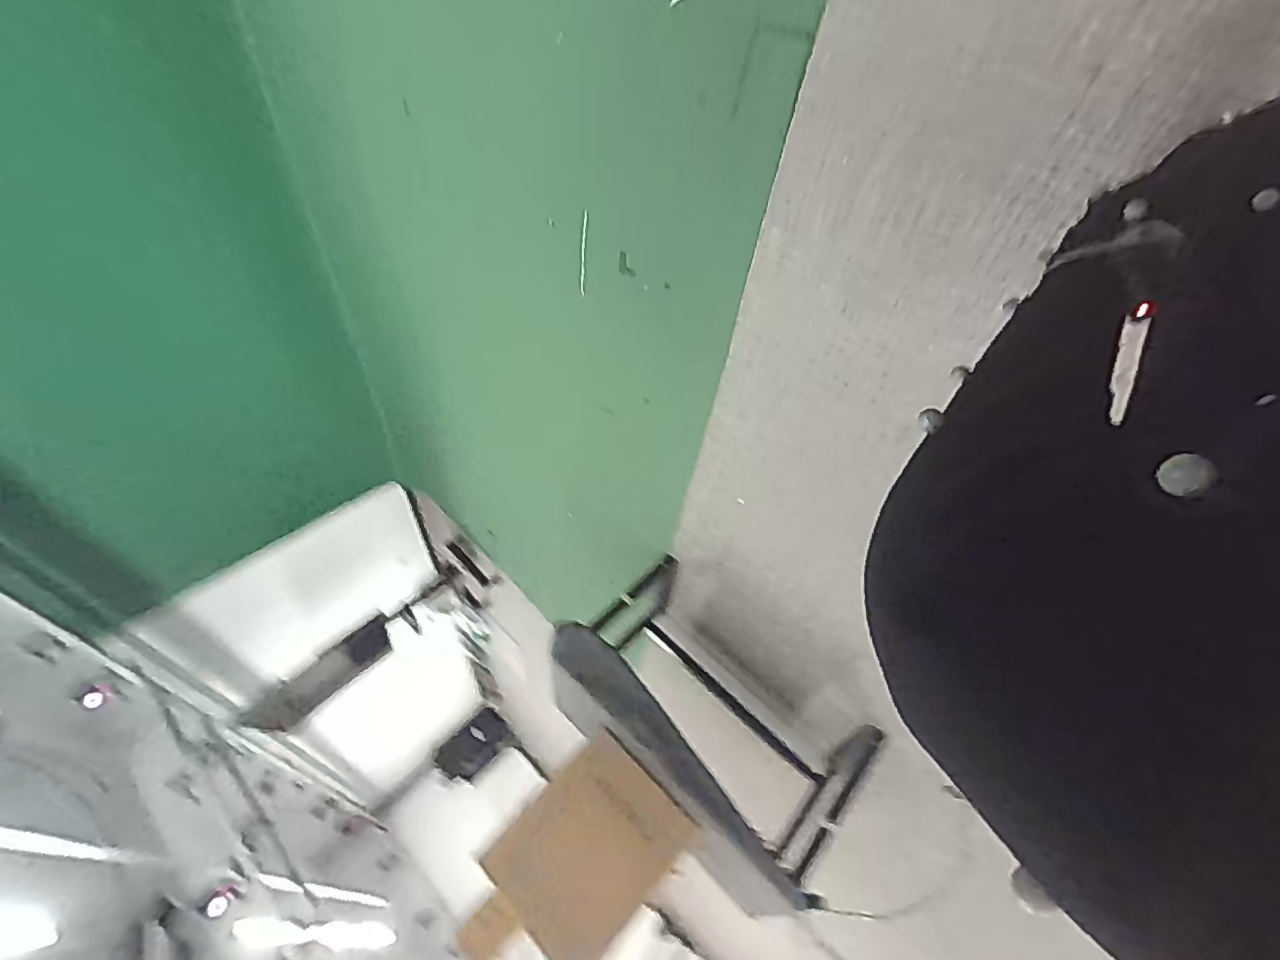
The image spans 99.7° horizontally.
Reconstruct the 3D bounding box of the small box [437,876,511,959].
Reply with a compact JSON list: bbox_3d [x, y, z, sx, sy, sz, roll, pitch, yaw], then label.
[{"bbox_3d":[-0.555,1.483,1.829,0.168,0.176,0.179,40,145,24],"label":"small box"}]
